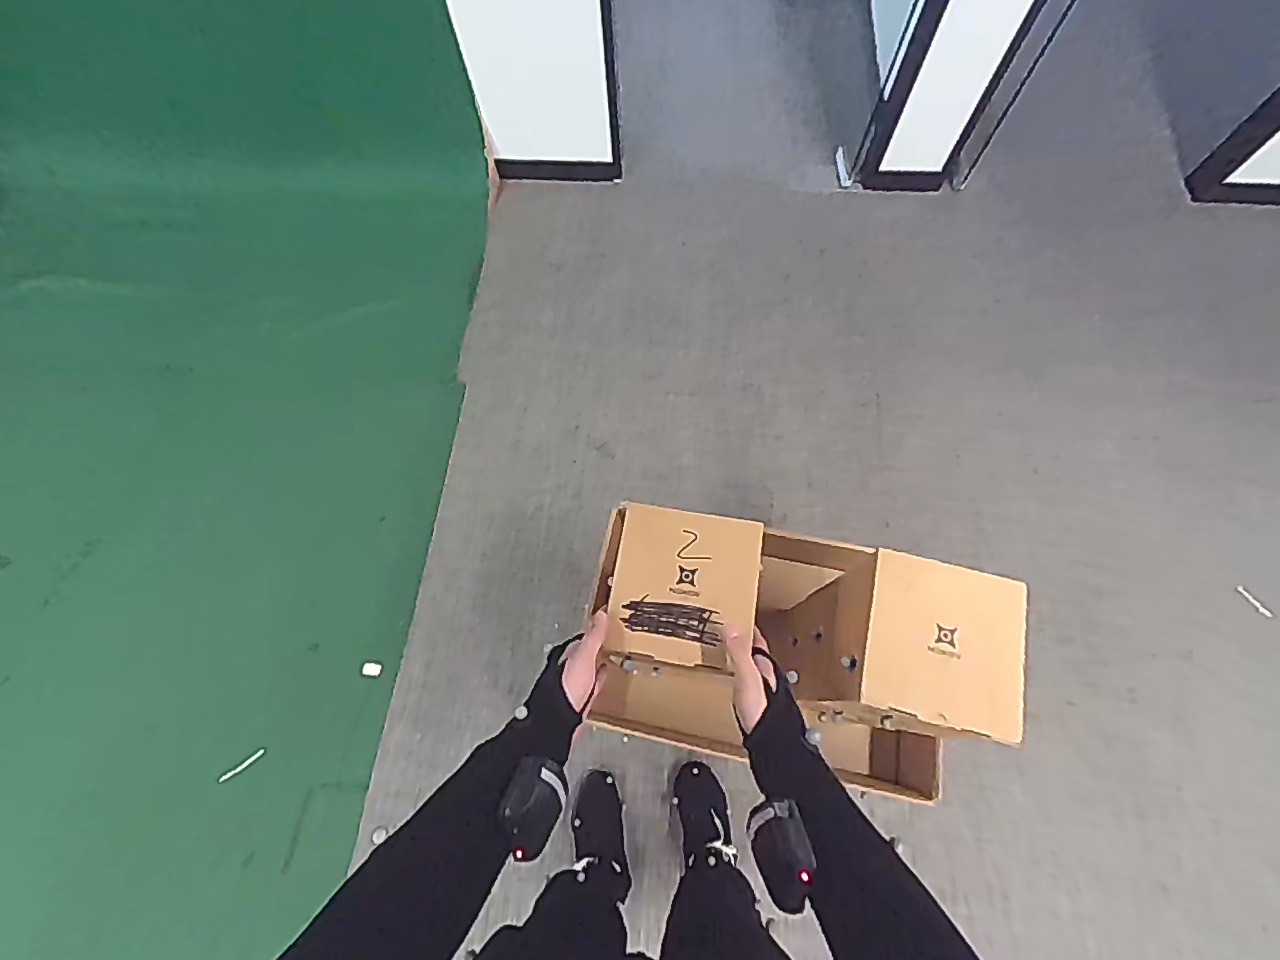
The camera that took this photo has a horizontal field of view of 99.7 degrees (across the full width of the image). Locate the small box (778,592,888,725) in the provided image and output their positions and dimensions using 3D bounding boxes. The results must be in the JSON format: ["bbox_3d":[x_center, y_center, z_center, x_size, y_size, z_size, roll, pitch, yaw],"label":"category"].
[{"bbox_3d":[0.352,0.317,0.960,0.168,0.176,0.179,14,70,8],"label":"small box"}]

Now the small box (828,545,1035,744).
[{"bbox_3d":[0.340,0.199,0.656,0.168,0.176,0.179,13,70,7],"label":"small box"}]

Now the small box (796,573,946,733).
[{"bbox_3d":[0.343,0.258,0.808,0.168,0.176,0.179,14,70,7],"label":"small box"}]

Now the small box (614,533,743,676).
[{"bbox_3d":[0.058,0.199,0.838,0.168,0.176,0.179,8,69,5],"label":"small box"}]
